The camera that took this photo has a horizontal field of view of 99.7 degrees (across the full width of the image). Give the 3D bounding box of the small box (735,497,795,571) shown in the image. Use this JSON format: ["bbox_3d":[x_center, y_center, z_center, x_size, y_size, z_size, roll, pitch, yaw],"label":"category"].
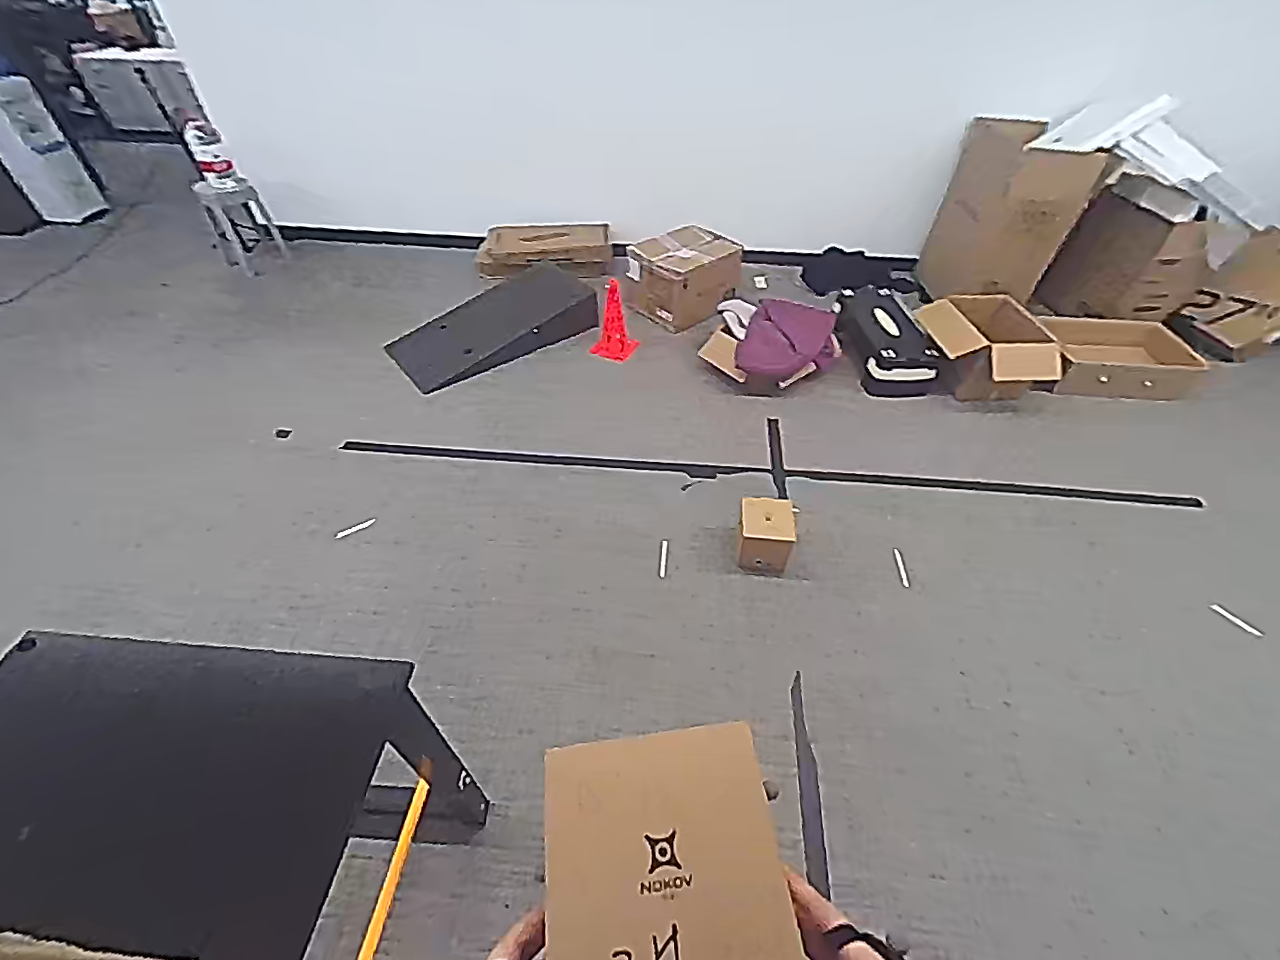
[{"bbox_3d":[0.410,0.179,1.807,0.168,0.176,0.179,4,47,4],"label":"small box"}]

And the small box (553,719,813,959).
[{"bbox_3d":[0.026,0.316,0.433,0.168,0.176,0.179,-7,50,-1],"label":"small box"}]
